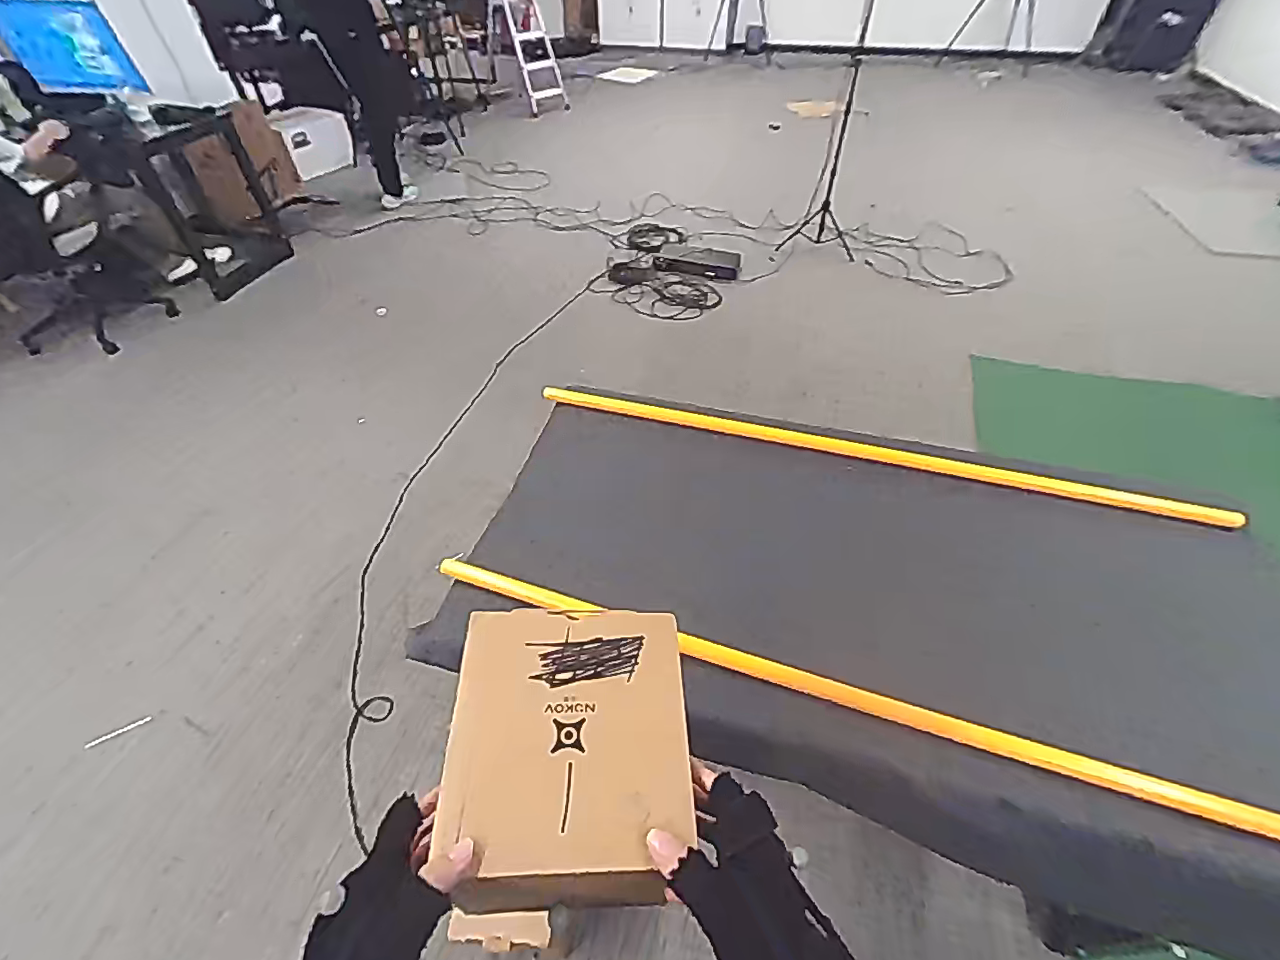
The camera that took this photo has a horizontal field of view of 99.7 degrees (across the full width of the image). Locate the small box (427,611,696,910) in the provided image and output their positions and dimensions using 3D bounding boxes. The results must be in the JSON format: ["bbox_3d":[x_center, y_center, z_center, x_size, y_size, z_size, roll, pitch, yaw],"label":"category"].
[{"bbox_3d":[-0.056,0.226,0.440,0.168,0.176,0.179,1,46,-5],"label":"small box"}]

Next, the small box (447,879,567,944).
[{"bbox_3d":[-0.219,0.710,0.965,0.168,0.176,0.179,-1,46,3],"label":"small box"}]
